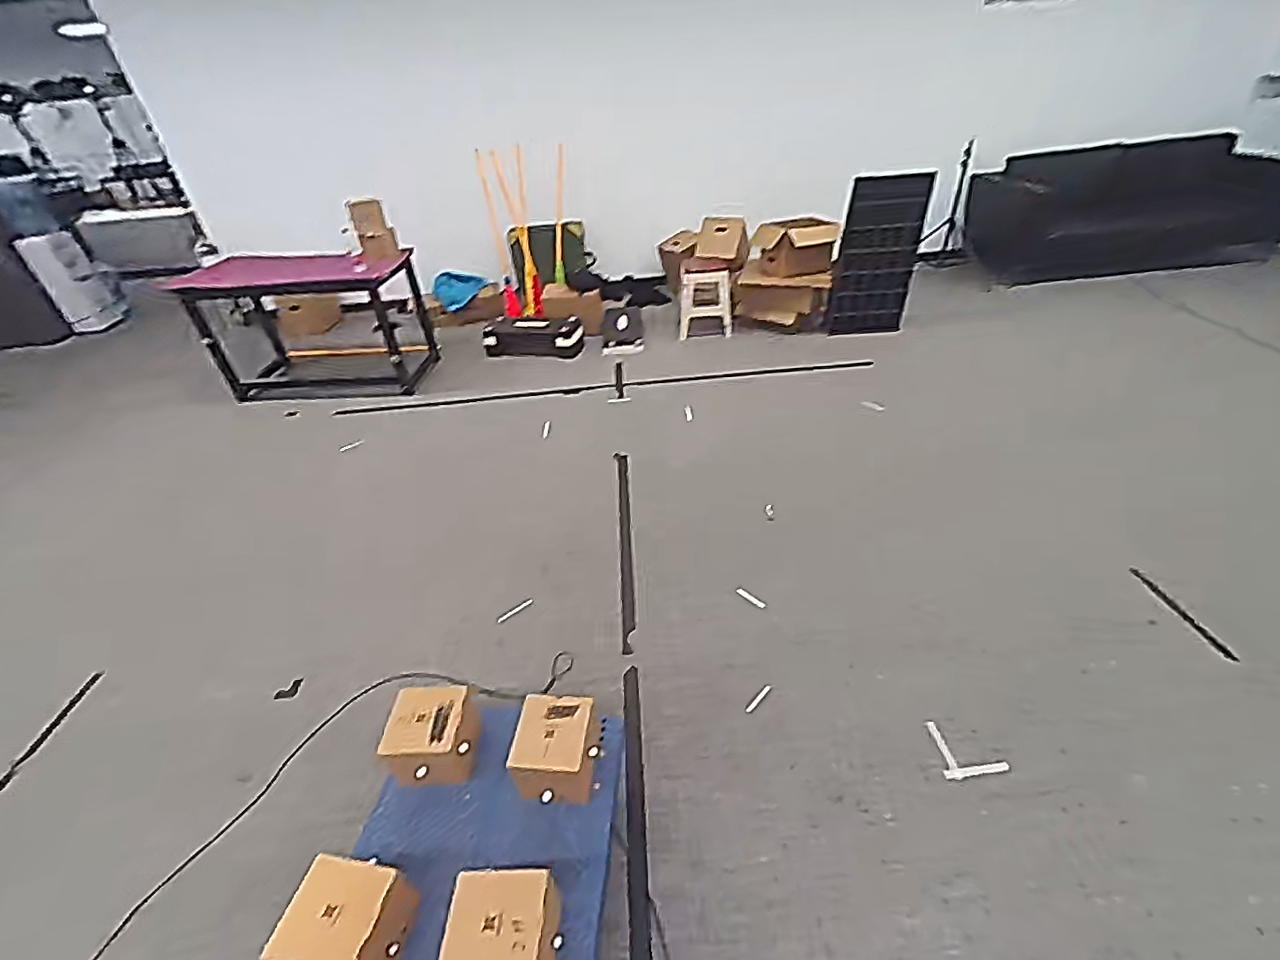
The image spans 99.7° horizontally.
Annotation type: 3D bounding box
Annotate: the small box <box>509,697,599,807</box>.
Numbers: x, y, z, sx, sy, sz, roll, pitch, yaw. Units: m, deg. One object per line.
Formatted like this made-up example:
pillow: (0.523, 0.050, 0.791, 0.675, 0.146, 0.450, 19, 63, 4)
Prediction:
small box: (-0.195, 0.645, 1.288, 0.168, 0.176, 0.179, 0, 38, 7)

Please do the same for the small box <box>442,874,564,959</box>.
small box: (-0.249, 0.861, 1.006, 0.179, 0.176, 0.168, -3, 37, 2)

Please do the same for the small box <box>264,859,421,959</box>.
small box: (-0.556, 0.866, 1.035, 0.179, 0.176, 0.168, 4, 37, 9)
